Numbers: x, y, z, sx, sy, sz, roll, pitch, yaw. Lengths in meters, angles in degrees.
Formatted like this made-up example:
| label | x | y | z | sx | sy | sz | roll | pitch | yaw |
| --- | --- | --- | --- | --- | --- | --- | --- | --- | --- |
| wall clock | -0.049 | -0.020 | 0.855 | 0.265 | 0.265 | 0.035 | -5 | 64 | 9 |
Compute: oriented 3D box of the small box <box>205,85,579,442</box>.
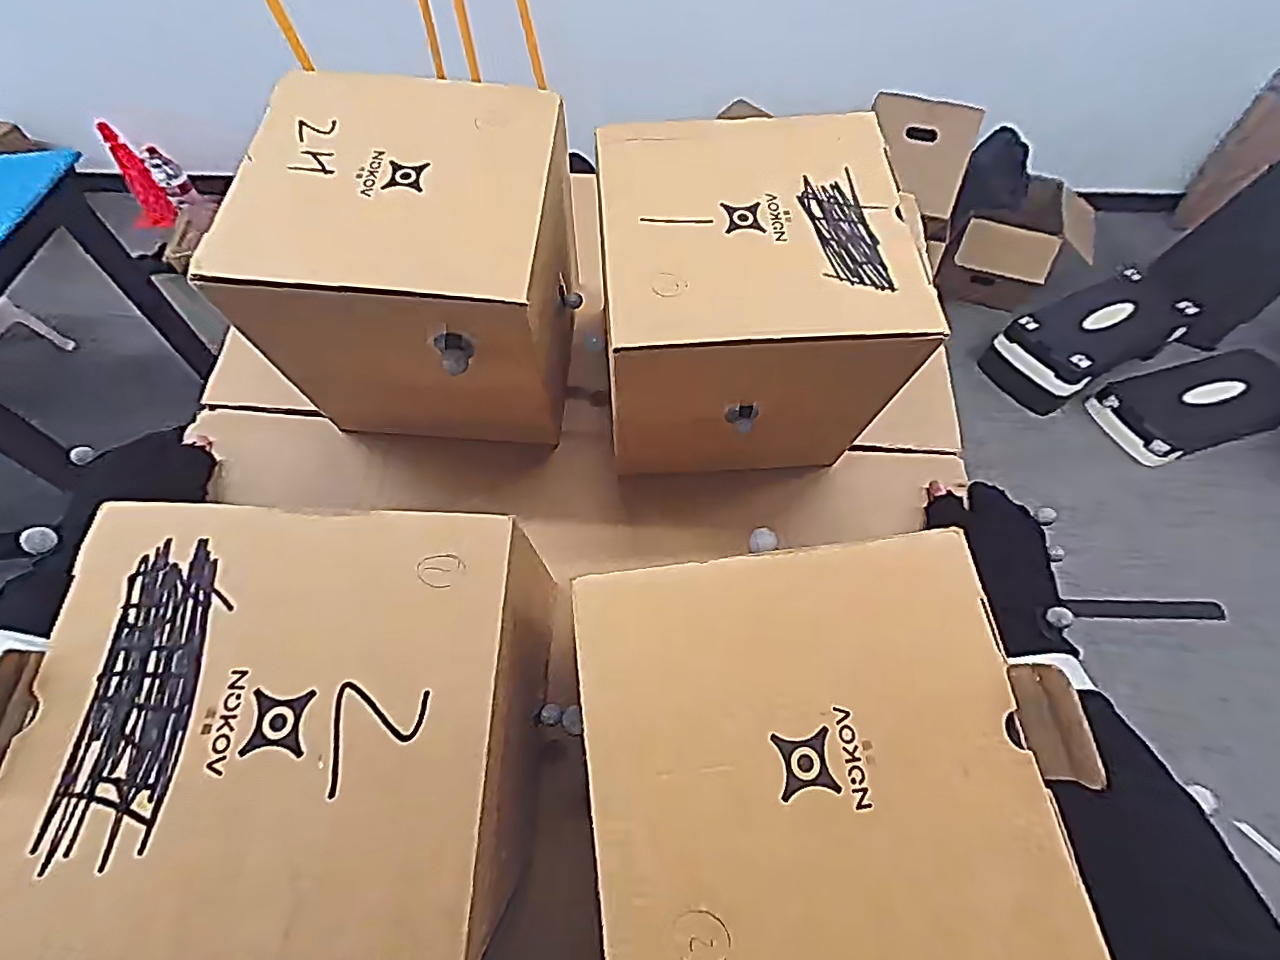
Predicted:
| label | x | y | z | sx | sy | sz | roll | pitch | yaw |
| --- | --- | --- | --- | --- | --- | --- | --- | --- | --- |
| small box | -0.142 | -0.139 | 0.392 | 0.179 | 0.176 | 0.168 | 5 | 67 | 0 |
